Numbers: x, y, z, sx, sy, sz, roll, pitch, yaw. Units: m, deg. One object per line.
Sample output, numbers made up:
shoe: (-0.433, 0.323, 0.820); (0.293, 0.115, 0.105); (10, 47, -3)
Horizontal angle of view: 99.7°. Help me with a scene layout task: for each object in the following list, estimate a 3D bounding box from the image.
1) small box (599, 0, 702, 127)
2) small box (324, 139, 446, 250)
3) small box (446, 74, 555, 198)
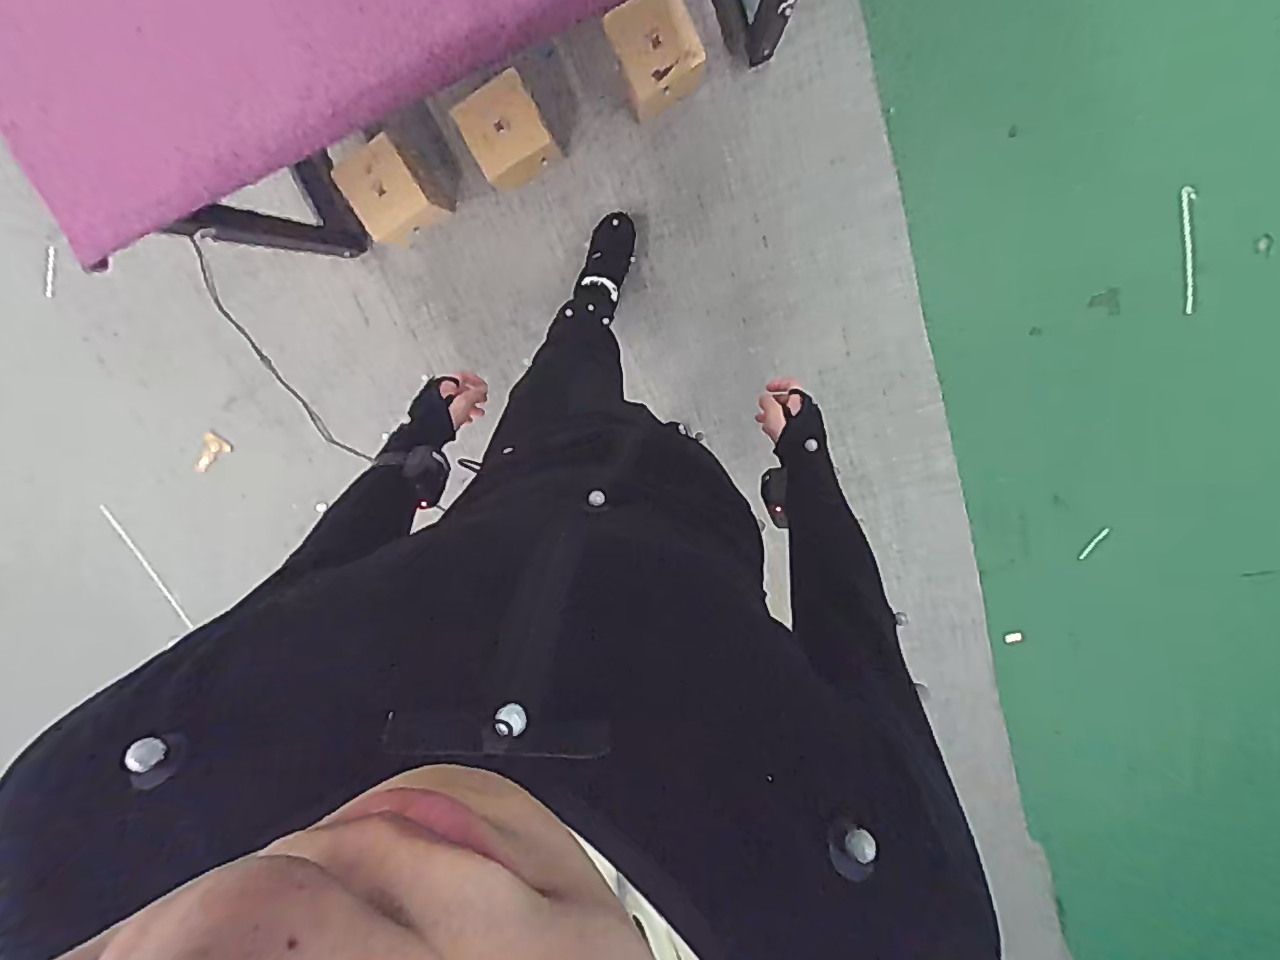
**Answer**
small box: (0.023, -0.945, 1.216); (0.168, 0.176, 0.179); (-26, 105, 9)
small box: (-0.609, -0.681, 1.317); (0.168, 0.176, 0.179); (-28, 105, 10)
small box: (-0.316, -0.797, 1.273); (0.179, 0.176, 0.168); (-26, 104, 10)
